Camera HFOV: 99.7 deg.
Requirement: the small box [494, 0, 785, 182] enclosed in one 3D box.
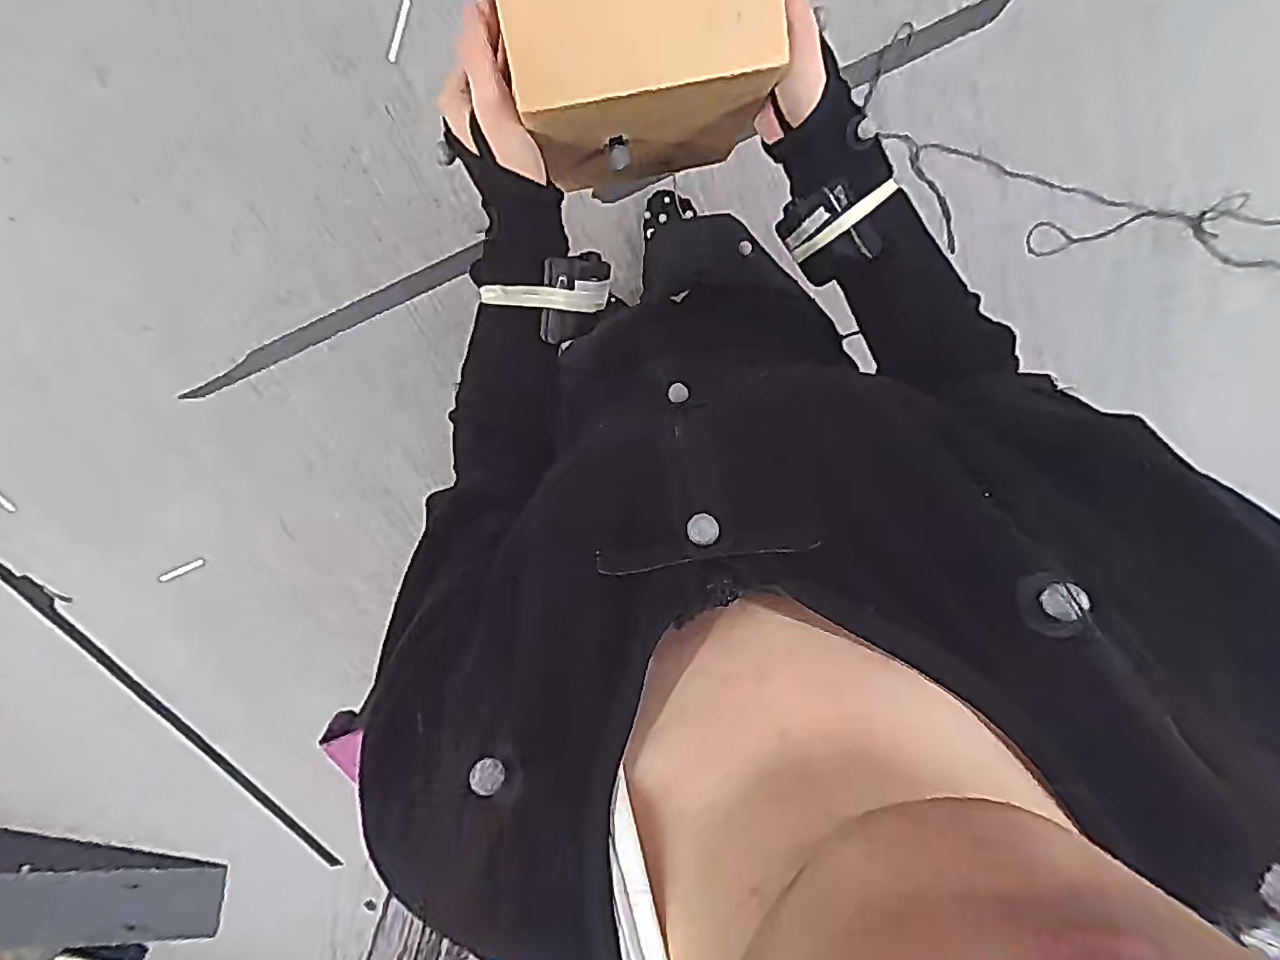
[{"bbox_3d":[-0.012,-0.331,0.378,0.168,0.176,0.179,-11,102,-1],"label":"small box"}]
